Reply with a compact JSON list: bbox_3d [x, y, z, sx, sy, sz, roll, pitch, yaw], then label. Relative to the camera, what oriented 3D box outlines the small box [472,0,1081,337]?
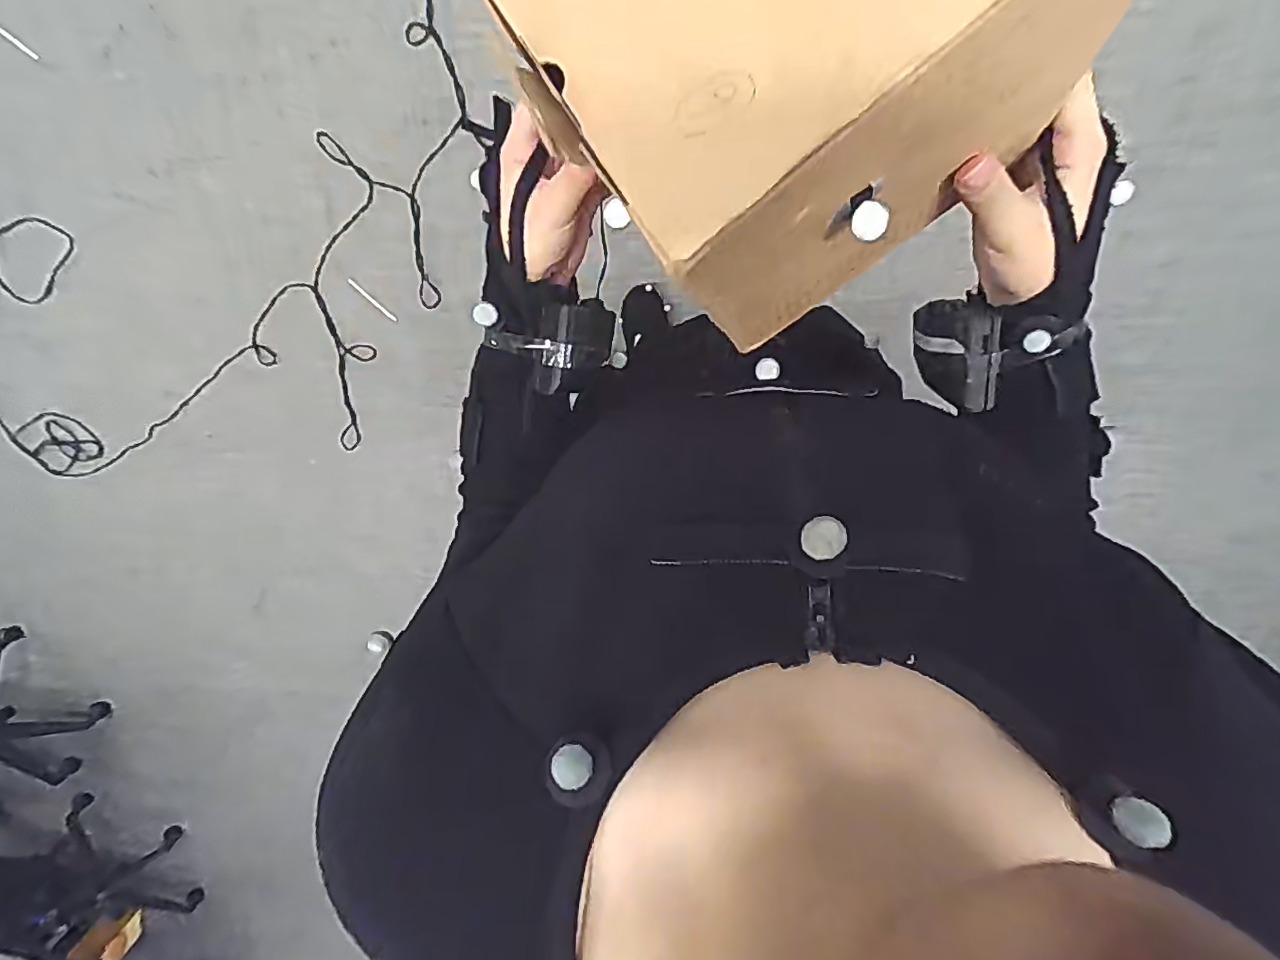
[{"bbox_3d":[0.061,-0.189,0.245,0.179,0.176,0.168,-35,82,19],"label":"small box"}]
